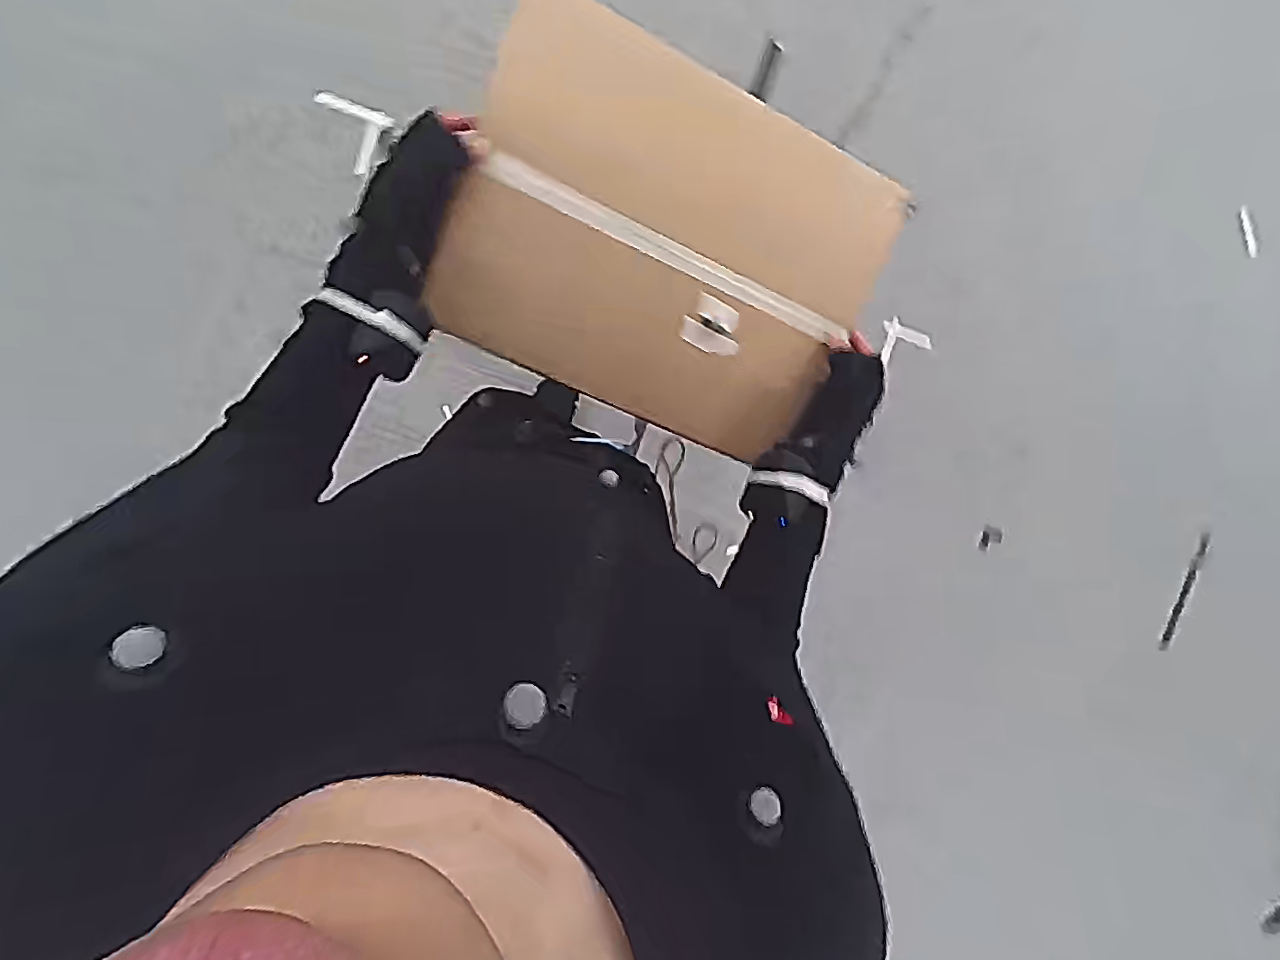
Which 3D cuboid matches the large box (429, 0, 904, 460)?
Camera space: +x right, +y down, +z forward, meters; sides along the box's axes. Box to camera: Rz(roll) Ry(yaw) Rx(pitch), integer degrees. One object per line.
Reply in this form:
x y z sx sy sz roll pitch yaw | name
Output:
0.012 -0.263 0.678 0.408 0.320 0.320 23 100 -13 | large box
